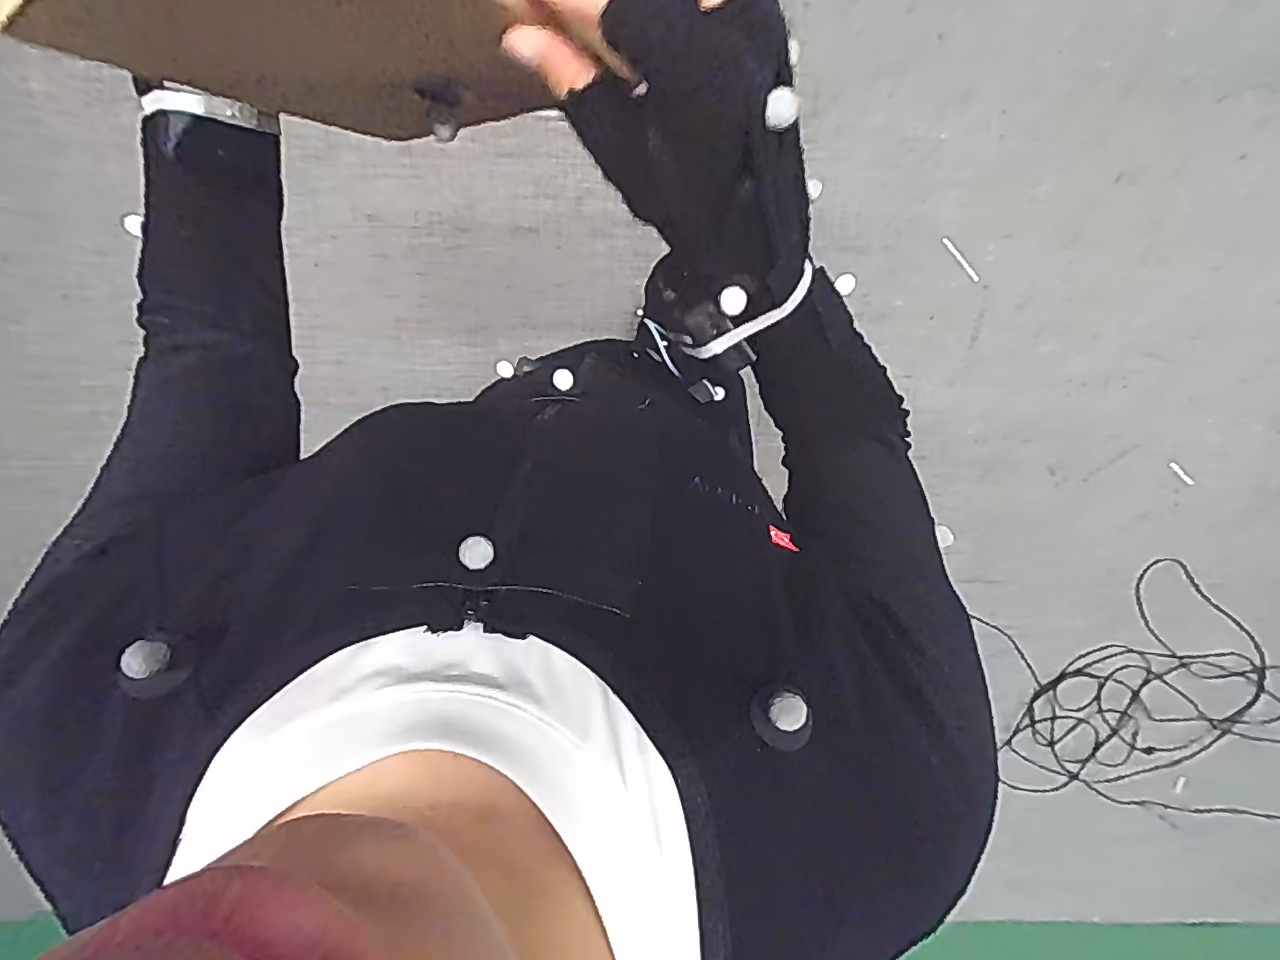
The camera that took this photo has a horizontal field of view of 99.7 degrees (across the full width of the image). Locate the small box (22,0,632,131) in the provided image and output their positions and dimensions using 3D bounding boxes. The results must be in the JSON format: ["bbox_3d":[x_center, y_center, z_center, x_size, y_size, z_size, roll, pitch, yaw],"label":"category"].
[{"bbox_3d":[-0.109,-0.255,0.201,0.179,0.176,0.168,9,109,28],"label":"small box"}]
